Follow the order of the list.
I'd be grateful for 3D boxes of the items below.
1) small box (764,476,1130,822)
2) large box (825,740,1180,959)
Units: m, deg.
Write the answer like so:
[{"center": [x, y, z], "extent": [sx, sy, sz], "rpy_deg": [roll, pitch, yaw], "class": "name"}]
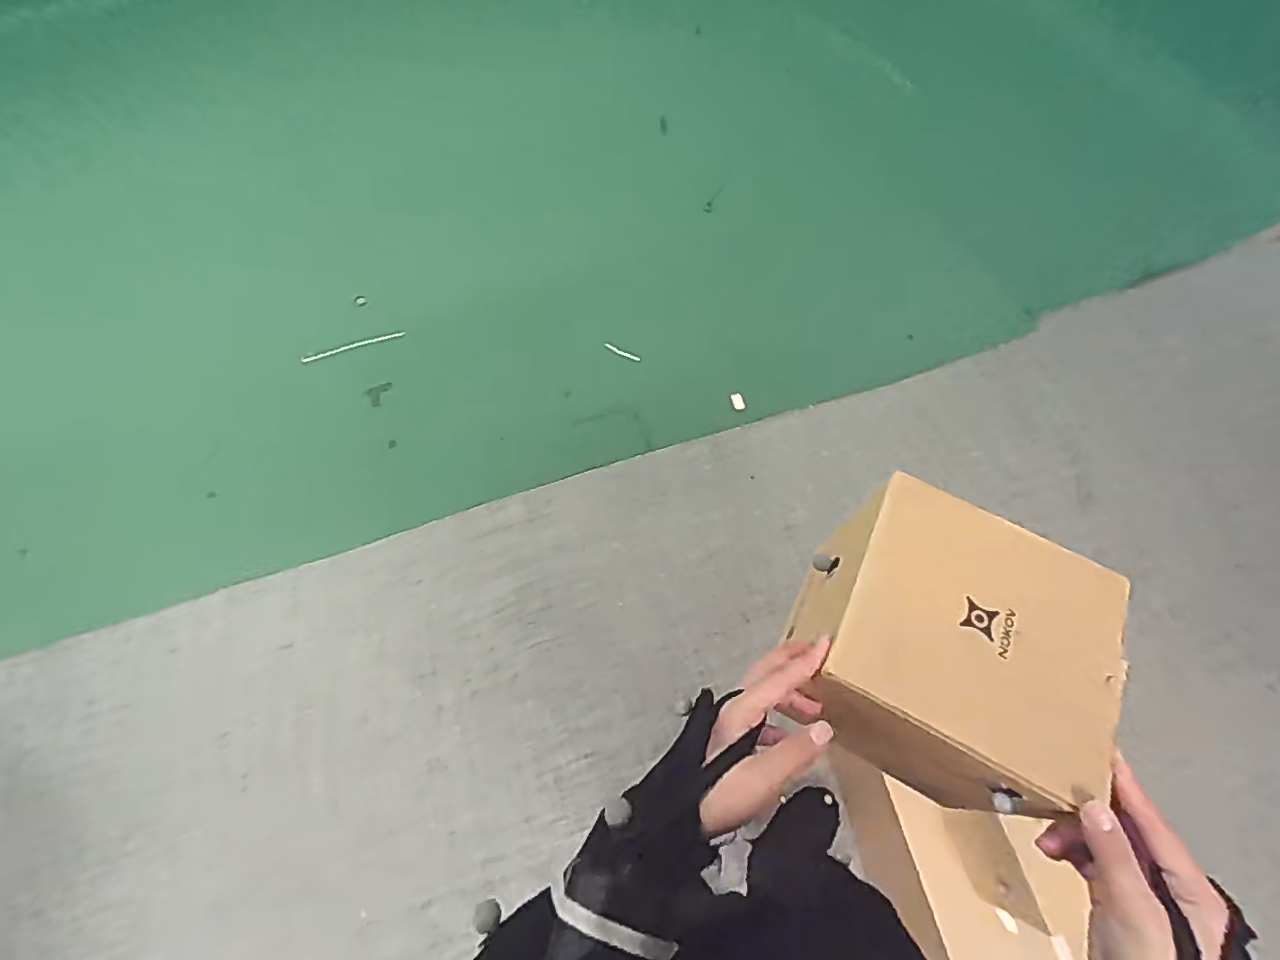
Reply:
[{"center": [0.218, 0.132, 0.421], "extent": [0.179, 0.176, 0.168], "rpy_deg": [27, 64, 9], "class": "small box"}, {"center": [0.577, 0.625, 0.947], "extent": [0.320, 0.320, 0.408], "rpy_deg": [-13, 66, -2], "class": "large box"}]
